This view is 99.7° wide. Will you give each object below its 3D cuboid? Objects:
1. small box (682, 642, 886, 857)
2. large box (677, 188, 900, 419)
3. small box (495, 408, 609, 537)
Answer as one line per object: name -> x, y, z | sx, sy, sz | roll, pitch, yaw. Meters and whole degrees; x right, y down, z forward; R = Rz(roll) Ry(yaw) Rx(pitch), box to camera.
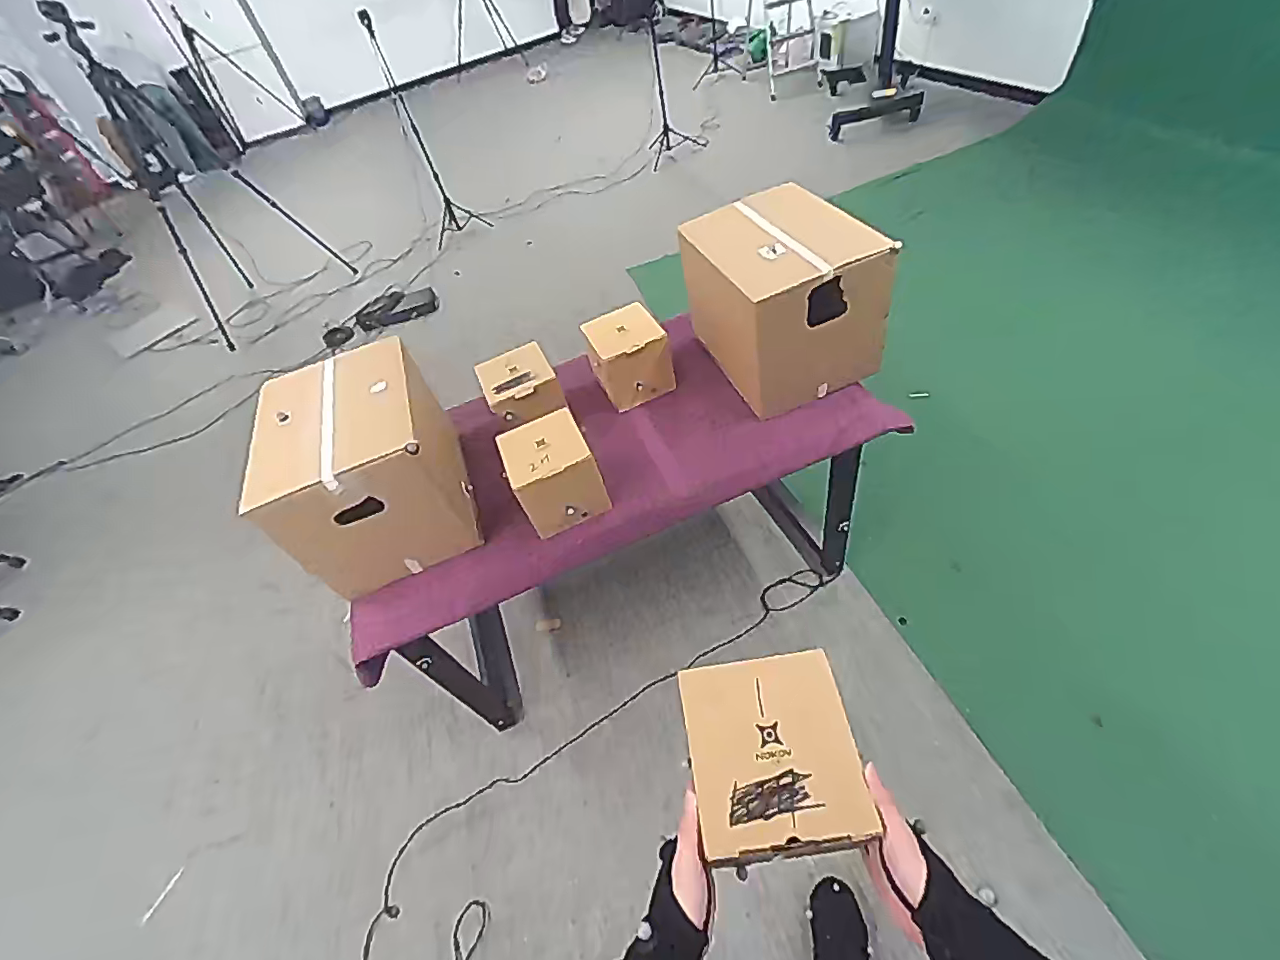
small box -> 0.146, 0.305, 0.603 | 0.168, 0.176, 0.179 | -10, 51, 1
large box -> 0.320, -0.416, 1.262 | 0.320, 0.320, 0.408 | -23, 49, -4
small box -> -0.182, -0.014, 1.133 | 0.168, 0.176, 0.179 | -25, 48, -7
